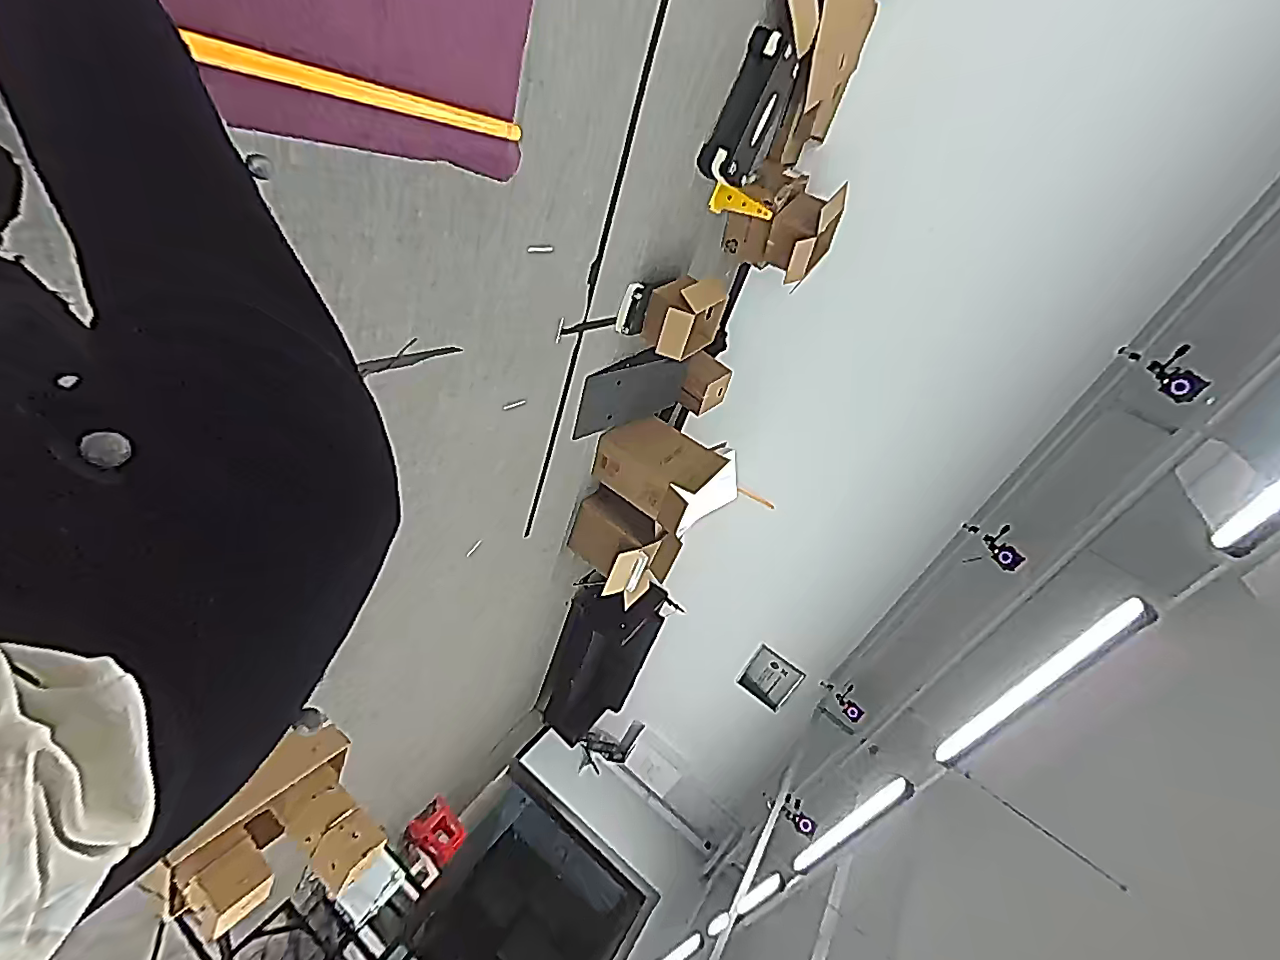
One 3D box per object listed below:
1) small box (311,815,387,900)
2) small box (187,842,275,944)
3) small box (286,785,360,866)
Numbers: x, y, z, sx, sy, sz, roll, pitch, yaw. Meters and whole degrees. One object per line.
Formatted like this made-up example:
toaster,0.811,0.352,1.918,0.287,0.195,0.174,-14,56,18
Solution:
small box,-1.101,1.409,2.038,0.179,0.176,0.168,-60,162,15
small box,-1.376,1.378,1.814,0.179,0.176,0.168,-24,146,-61
small box,-1.231,1.323,2.091,0.179,0.176,0.168,-60,162,19
